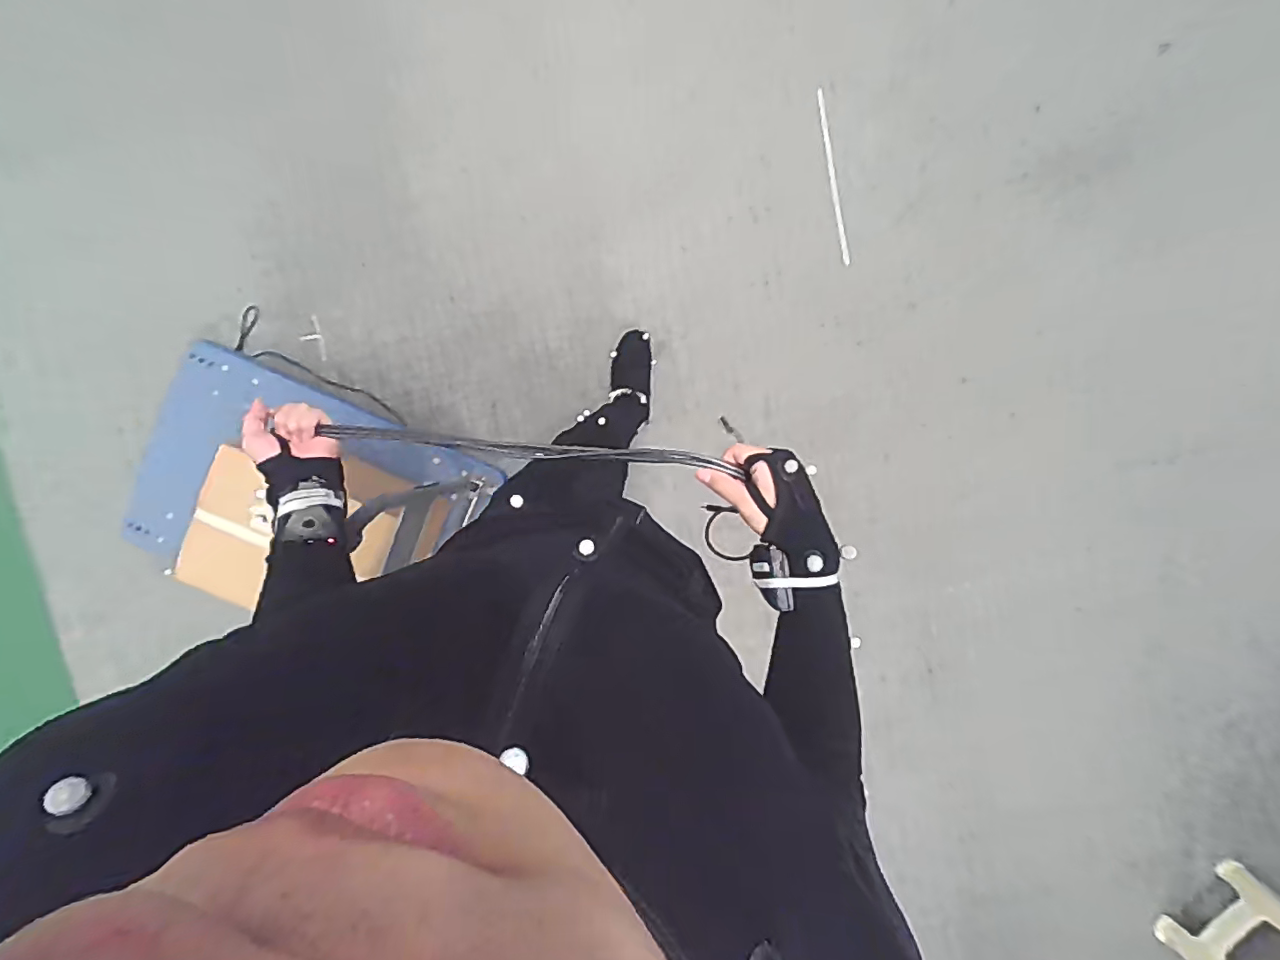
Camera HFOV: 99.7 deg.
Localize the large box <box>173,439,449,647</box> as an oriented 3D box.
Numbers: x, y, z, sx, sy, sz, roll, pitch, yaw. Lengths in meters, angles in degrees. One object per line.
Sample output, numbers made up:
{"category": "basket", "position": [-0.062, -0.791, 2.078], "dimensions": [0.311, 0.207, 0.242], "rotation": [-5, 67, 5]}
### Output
{"category": "large box", "position": [-0.731, 0.125, 1.266], "dimensions": [0.408, 0.320, 0.320], "rotation": [24, 95, -2]}
